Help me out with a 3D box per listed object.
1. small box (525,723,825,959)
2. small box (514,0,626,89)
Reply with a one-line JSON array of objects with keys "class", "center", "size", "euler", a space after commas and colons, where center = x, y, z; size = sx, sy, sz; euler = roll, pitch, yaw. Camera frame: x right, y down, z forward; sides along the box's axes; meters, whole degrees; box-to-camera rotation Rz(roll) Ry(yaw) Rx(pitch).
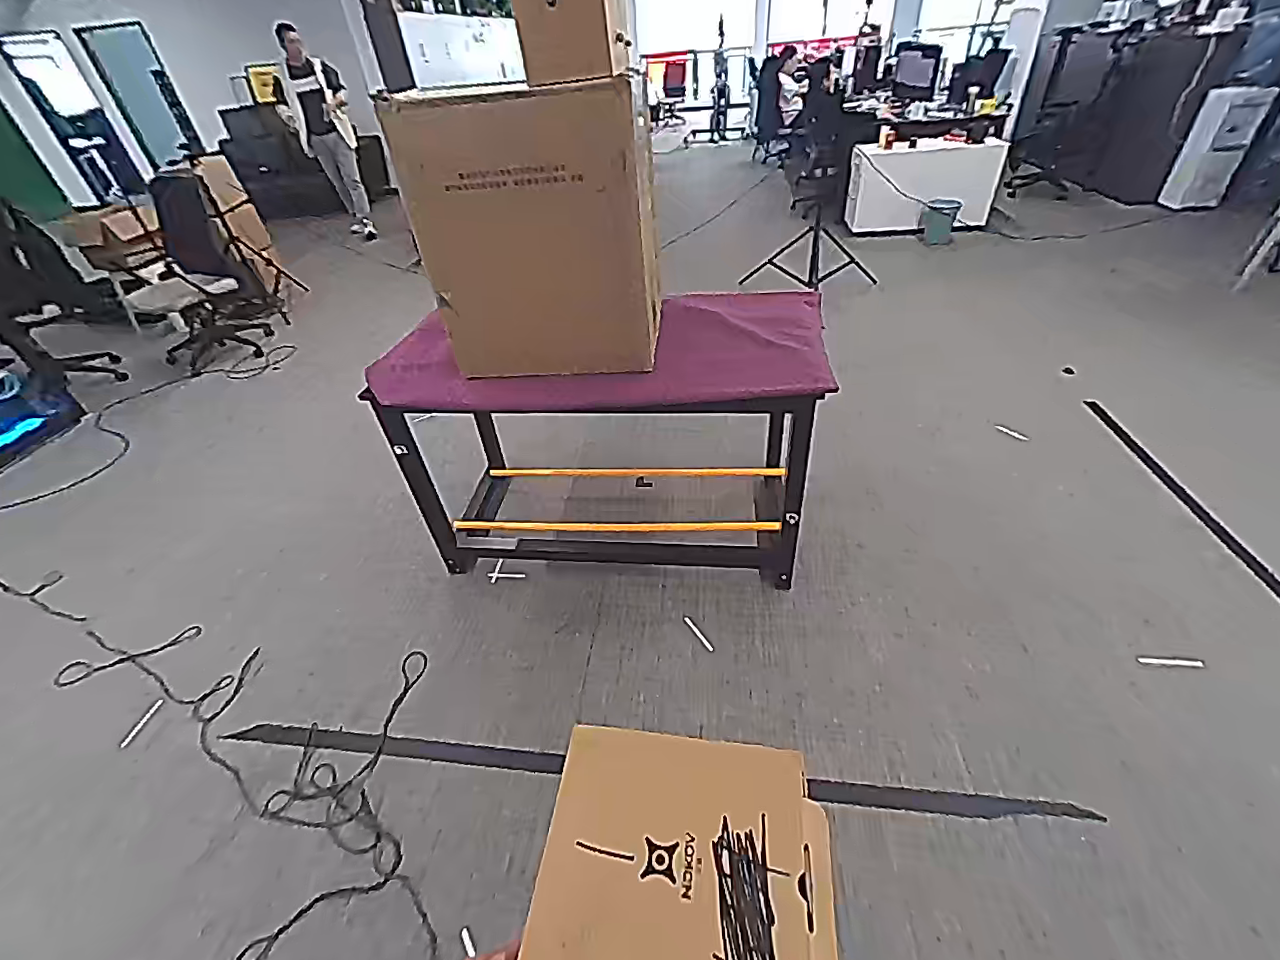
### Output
[{"class": "small box", "center": [0.031, 0.308, 0.403], "size": [0.179, 0.176, 0.168], "euler": [3, 42, 9]}, {"class": "small box", "center": [-0.132, -0.877, 1.052], "size": [0.179, 0.176, 0.168], "euler": [-1, 40, 9]}]
